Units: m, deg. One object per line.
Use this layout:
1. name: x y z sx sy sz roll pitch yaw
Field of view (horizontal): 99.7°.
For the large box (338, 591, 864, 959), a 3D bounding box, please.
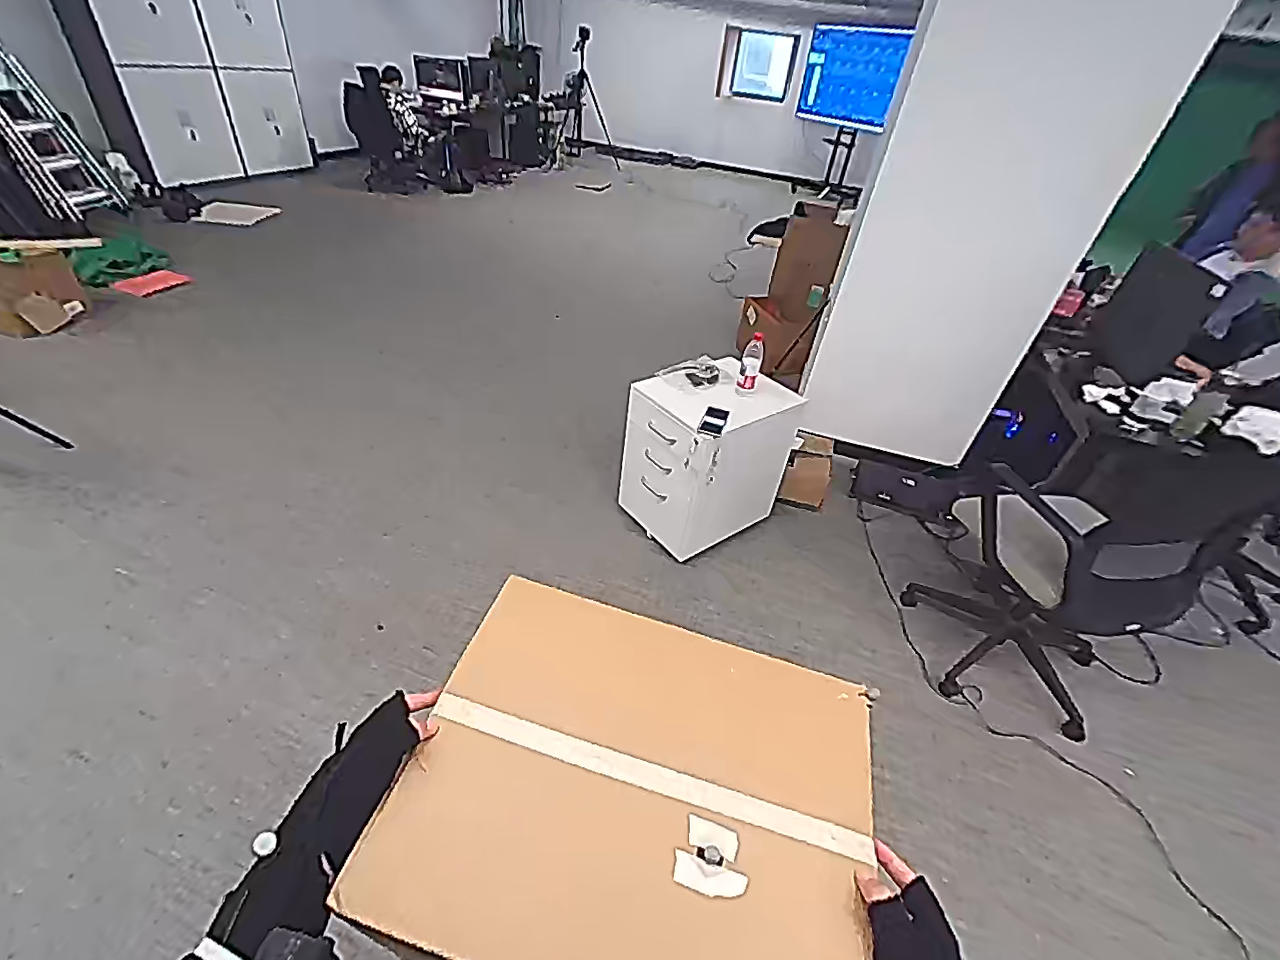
1. large box: -0.020 0.381 0.587 0.408 0.320 0.320 17 44 6
